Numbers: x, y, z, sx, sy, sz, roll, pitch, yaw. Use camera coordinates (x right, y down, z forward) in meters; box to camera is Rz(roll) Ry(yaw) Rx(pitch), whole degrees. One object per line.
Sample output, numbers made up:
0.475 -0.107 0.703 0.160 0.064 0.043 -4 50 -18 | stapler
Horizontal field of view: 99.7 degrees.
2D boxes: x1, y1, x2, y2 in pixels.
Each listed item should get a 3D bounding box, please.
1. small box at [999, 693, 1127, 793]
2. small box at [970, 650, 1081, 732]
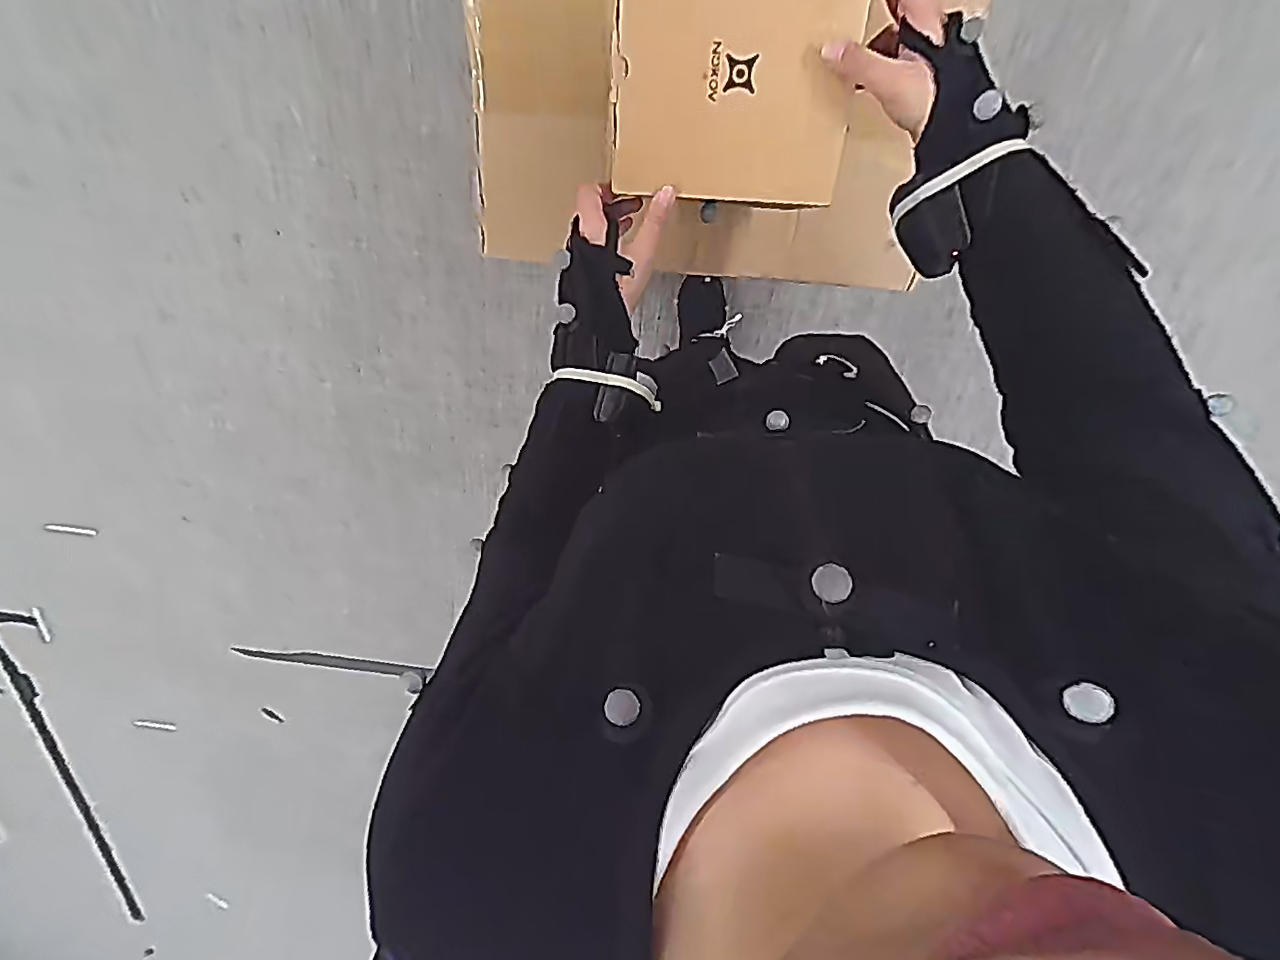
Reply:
1.098 0.684 1.419 0.179 0.176 0.168 5 114 1 | small box
1.107 0.615 1.569 0.179 0.176 0.168 7 114 1 | small box
